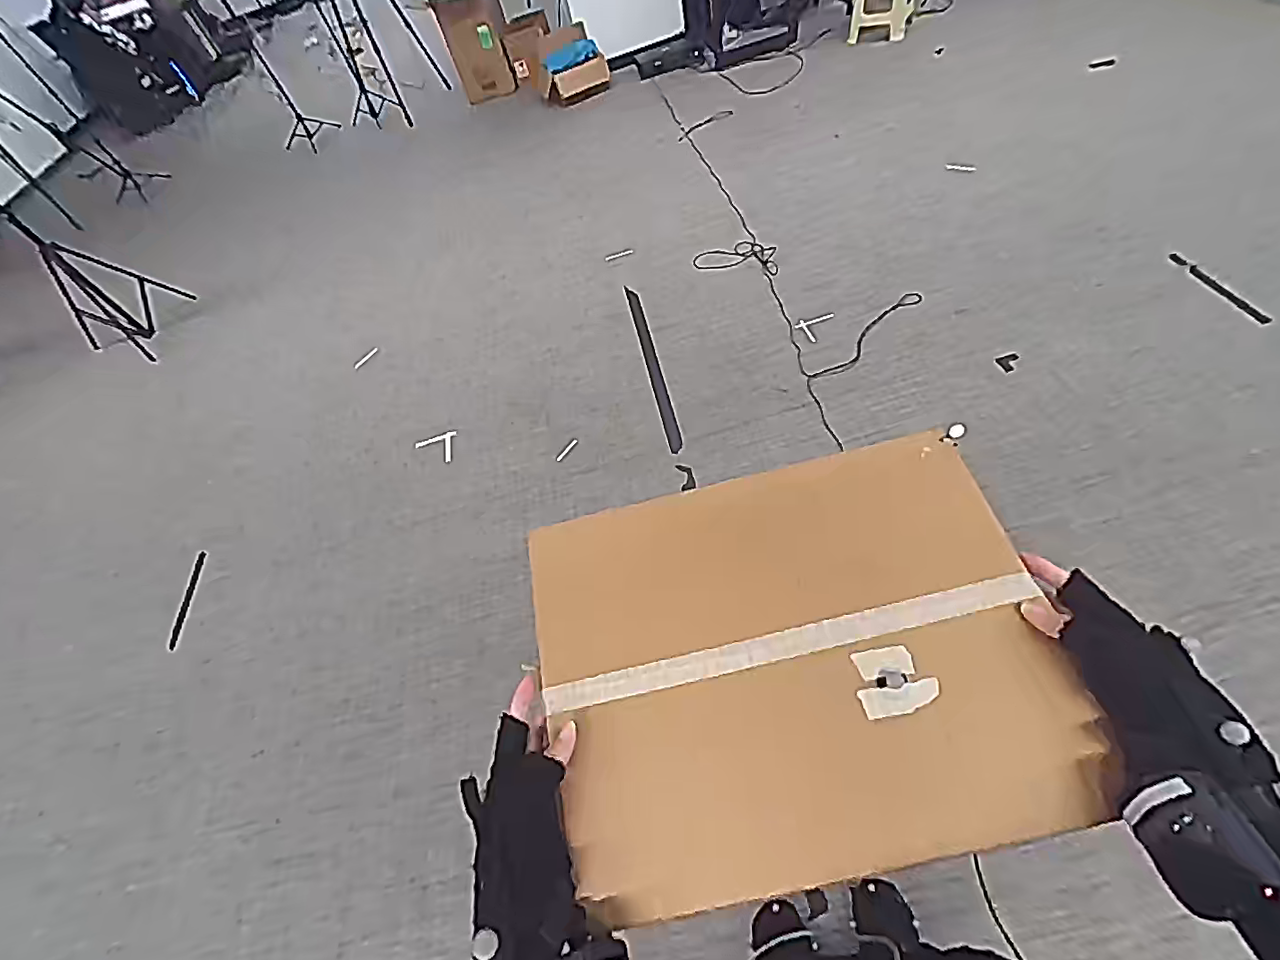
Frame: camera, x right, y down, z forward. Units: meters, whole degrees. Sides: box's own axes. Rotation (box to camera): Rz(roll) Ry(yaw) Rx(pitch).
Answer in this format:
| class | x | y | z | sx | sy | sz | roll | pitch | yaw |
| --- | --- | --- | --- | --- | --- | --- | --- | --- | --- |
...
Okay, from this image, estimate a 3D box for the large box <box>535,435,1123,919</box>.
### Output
| class | x | y | z | sx | sy | sz | roll | pitch | yaw |
| --- | --- | --- | --- | --- | --- | --- | --- | --- | --- |
| large box | 0.138 | 0.205 | 0.583 | 0.408 | 0.320 | 0.320 | -14 | 61 | 1 |
